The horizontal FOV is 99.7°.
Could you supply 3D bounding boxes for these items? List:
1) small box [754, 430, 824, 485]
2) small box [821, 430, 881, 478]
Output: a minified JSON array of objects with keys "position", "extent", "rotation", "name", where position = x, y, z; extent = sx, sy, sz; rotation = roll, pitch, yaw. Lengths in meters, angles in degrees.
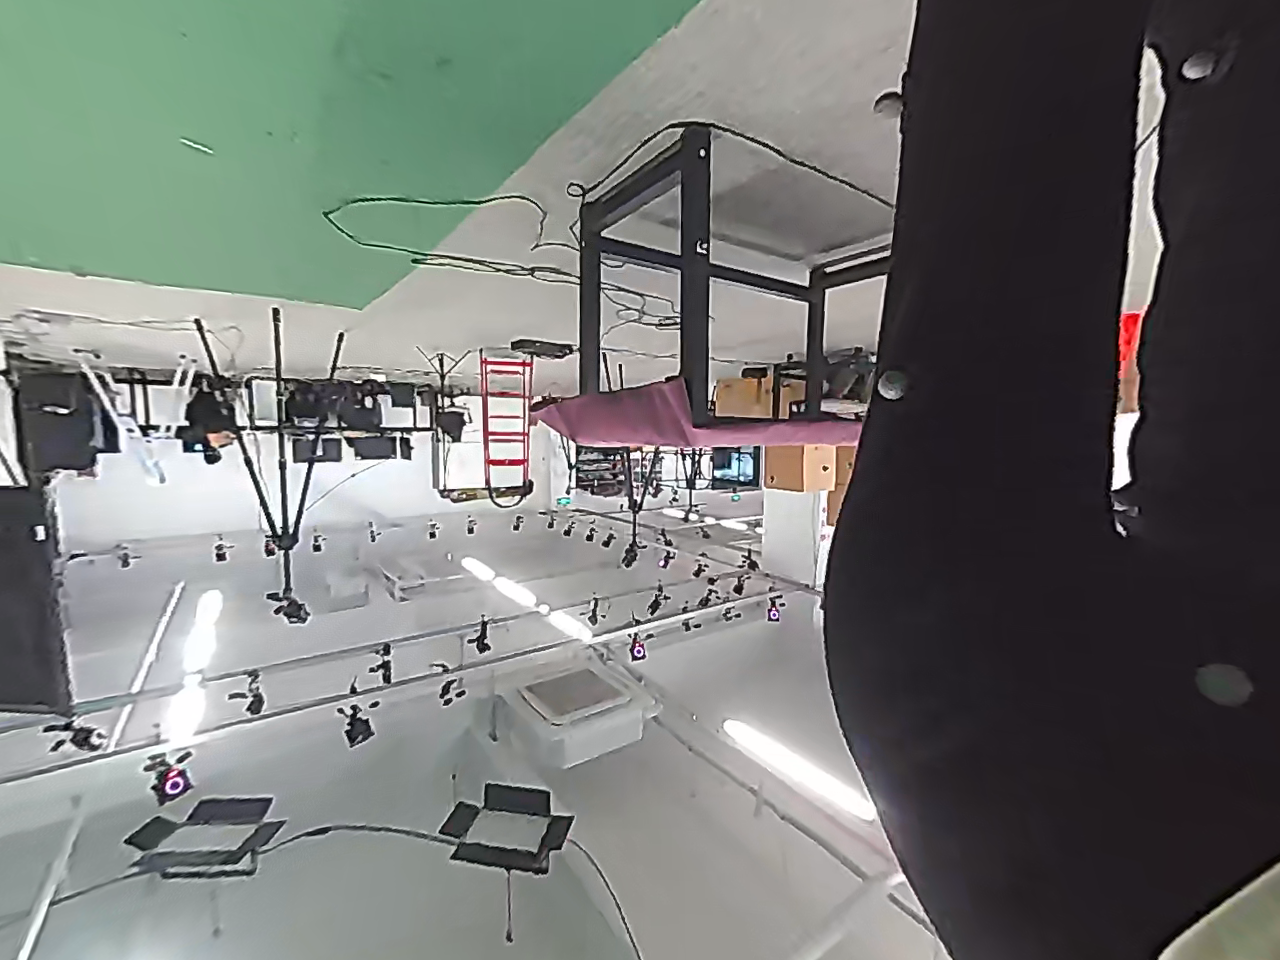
[{"position":[0.504,-0.081,1.834],"extent":[0.168,0.176,0.179],"rotation":[-5,-173,-35],"name":"small box"},{"position":[0.794,-0.101,2.047],"extent":[0.168,0.176,0.179],"rotation":[-5,-174,-35],"name":"small box"}]
